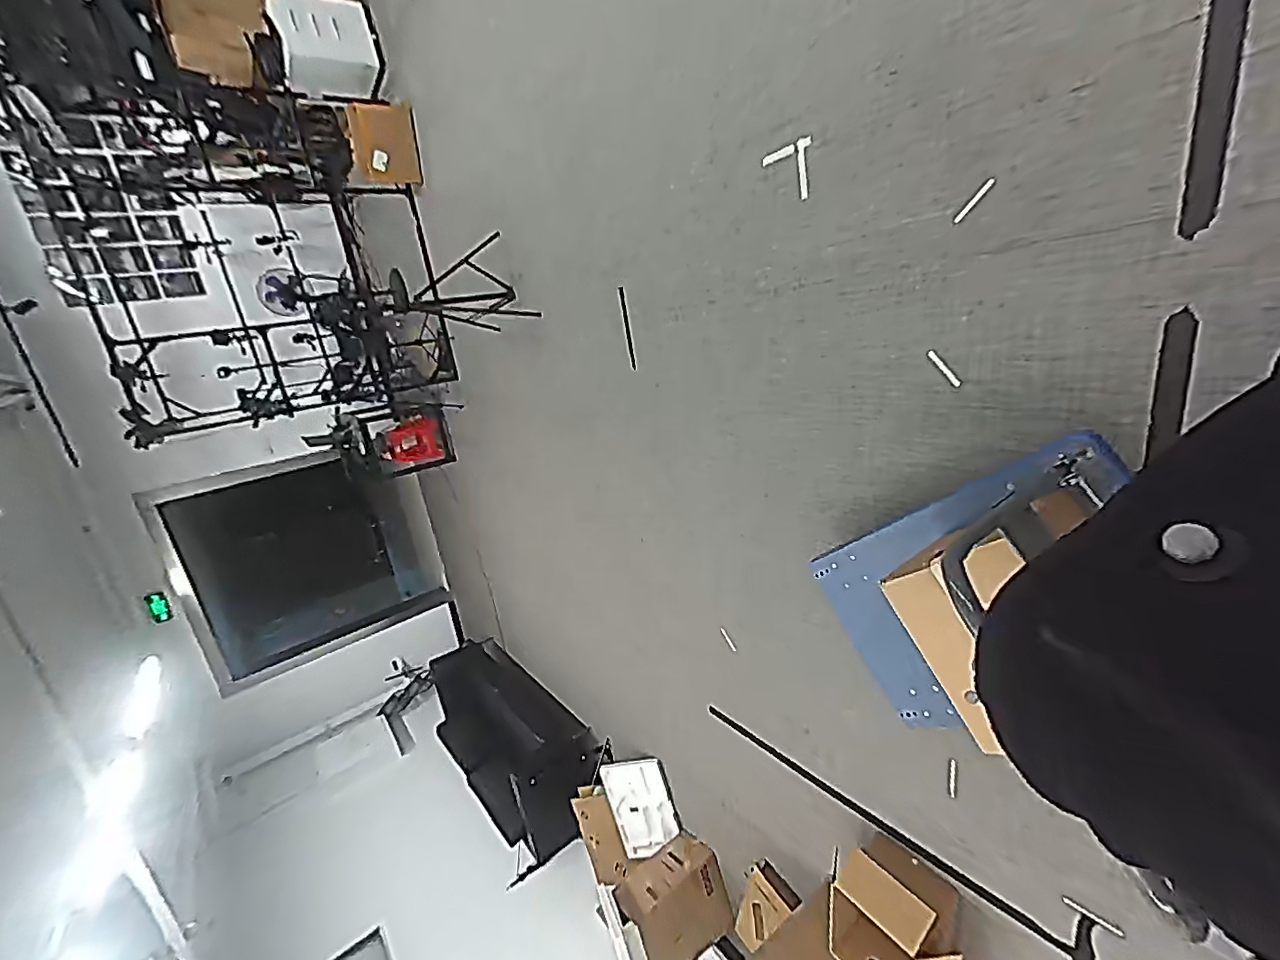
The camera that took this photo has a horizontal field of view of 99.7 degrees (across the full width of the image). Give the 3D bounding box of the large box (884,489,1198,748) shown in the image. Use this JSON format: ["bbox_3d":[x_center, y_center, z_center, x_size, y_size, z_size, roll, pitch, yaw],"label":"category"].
[{"bbox_3d":[0.824,0.289,1.141,0.408,0.320,0.320,62,146,14],"label":"large box"}]
